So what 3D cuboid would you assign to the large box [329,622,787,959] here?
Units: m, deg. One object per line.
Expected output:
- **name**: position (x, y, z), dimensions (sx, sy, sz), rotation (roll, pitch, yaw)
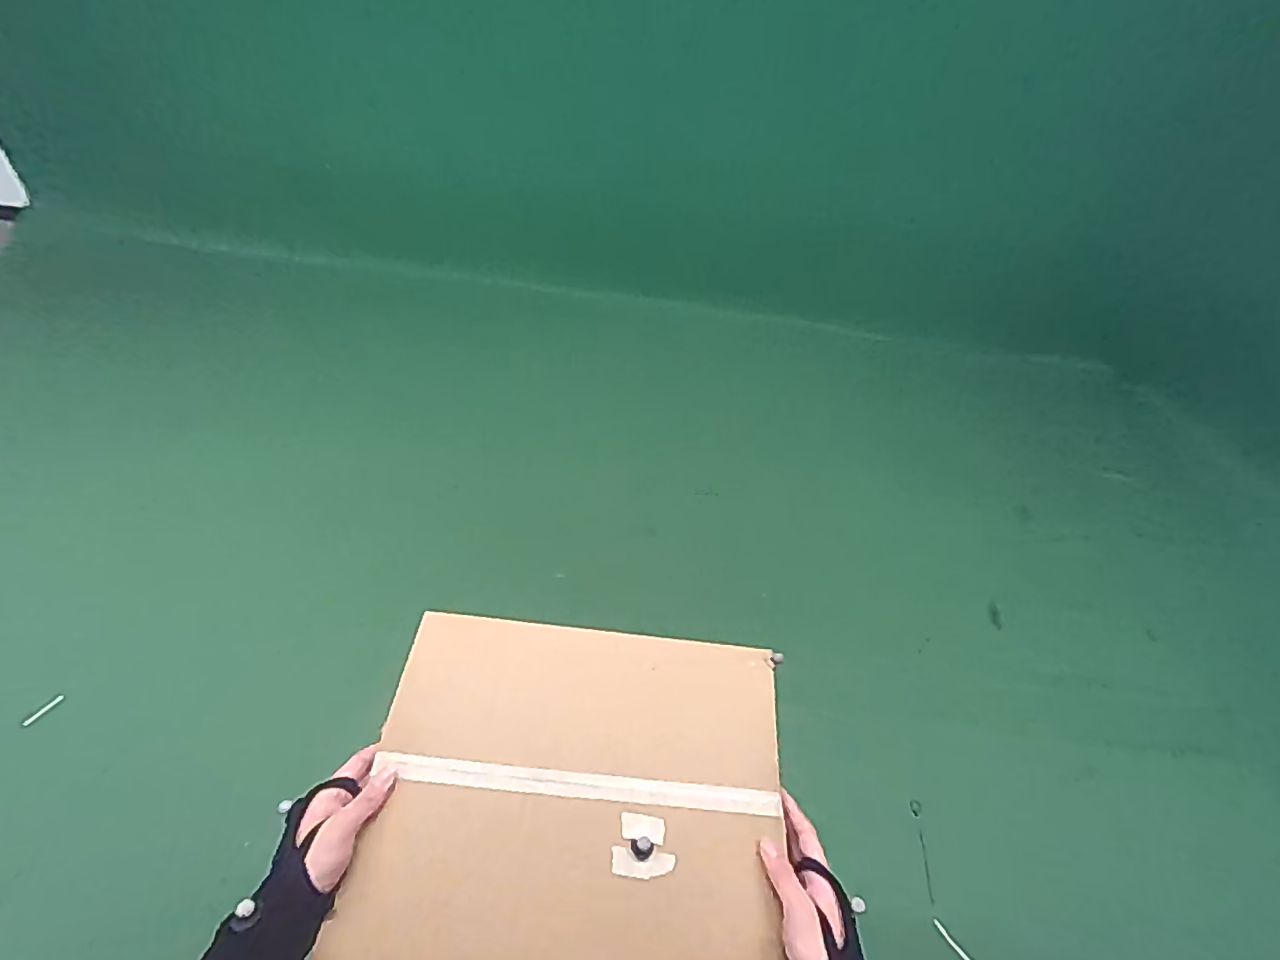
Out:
- **large box**: position (-0.073, 0.395, 0.667), dimensions (0.408, 0.320, 0.320), rotation (6, 55, -2)
